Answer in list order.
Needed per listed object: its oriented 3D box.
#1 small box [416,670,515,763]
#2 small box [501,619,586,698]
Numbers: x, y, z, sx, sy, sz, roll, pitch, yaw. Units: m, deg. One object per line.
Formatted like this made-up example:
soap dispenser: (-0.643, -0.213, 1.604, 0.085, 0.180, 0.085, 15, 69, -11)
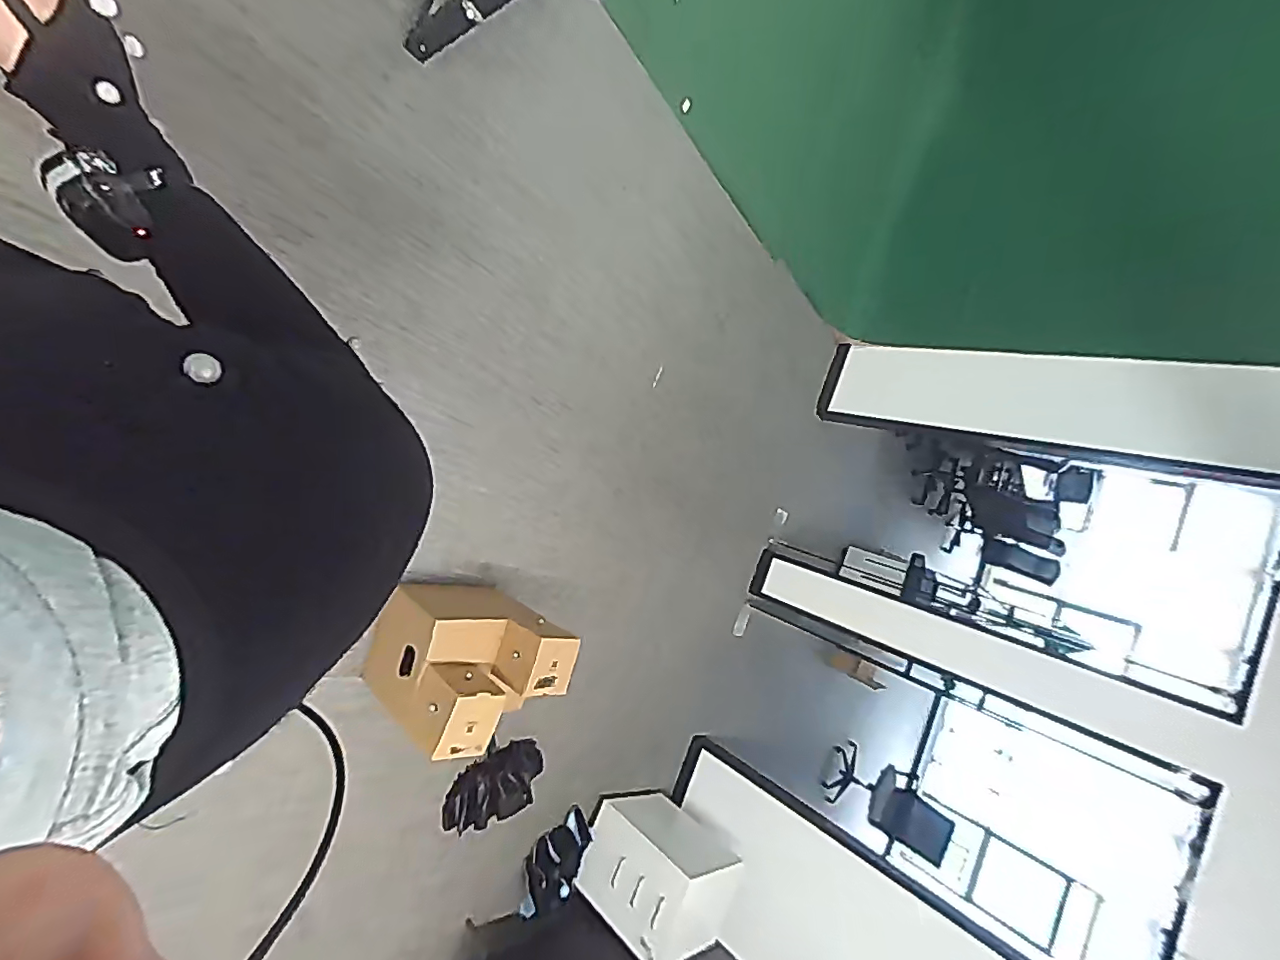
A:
small box: (-0.477, 0.631, 1.464, 0.168, 0.176, 0.179, 24, 84, -49)
small box: (-0.297, 0.537, 1.638, 0.168, 0.176, 0.179, 21, 82, -49)
